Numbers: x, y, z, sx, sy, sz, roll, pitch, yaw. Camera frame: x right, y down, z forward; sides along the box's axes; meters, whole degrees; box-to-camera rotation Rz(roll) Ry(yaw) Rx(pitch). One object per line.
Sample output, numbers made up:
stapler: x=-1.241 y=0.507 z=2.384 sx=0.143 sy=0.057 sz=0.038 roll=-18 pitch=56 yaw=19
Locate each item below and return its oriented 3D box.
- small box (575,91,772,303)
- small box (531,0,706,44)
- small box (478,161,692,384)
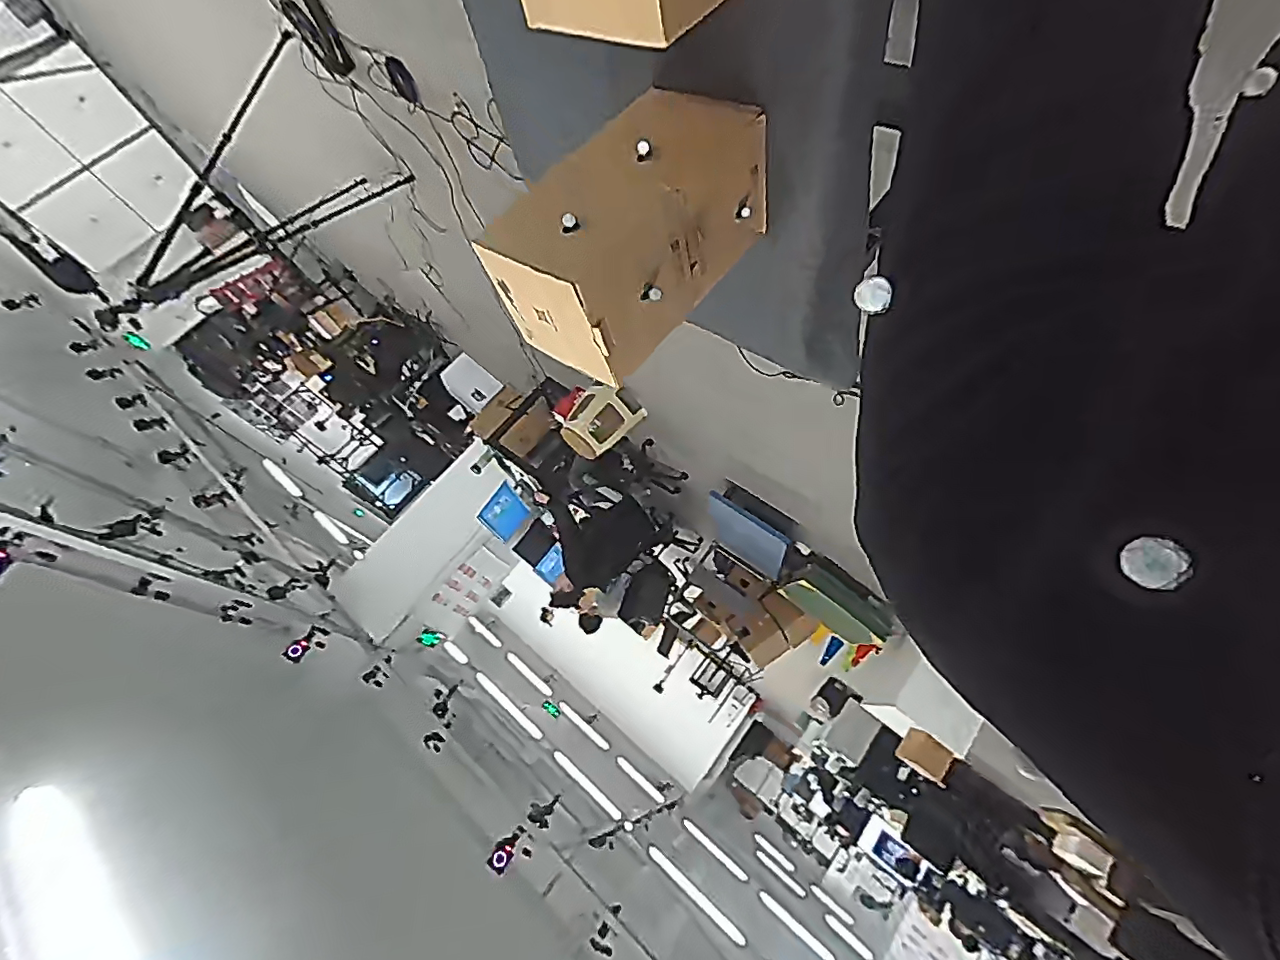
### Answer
small box: x=0.050 y=-0.372 z=0.707 sx=0.179 sy=0.176 sz=0.168 roll=32 pitch=162 yaw=27
small box: x=0.000 y=-0.507 z=0.445 sx=0.179 sy=0.176 sz=0.168 roll=33 pitch=163 yaw=26
small box: x=-0.051 y=-0.254 z=0.657 sx=0.179 sy=0.176 sz=0.168 roll=31 pitch=161 yaw=28
